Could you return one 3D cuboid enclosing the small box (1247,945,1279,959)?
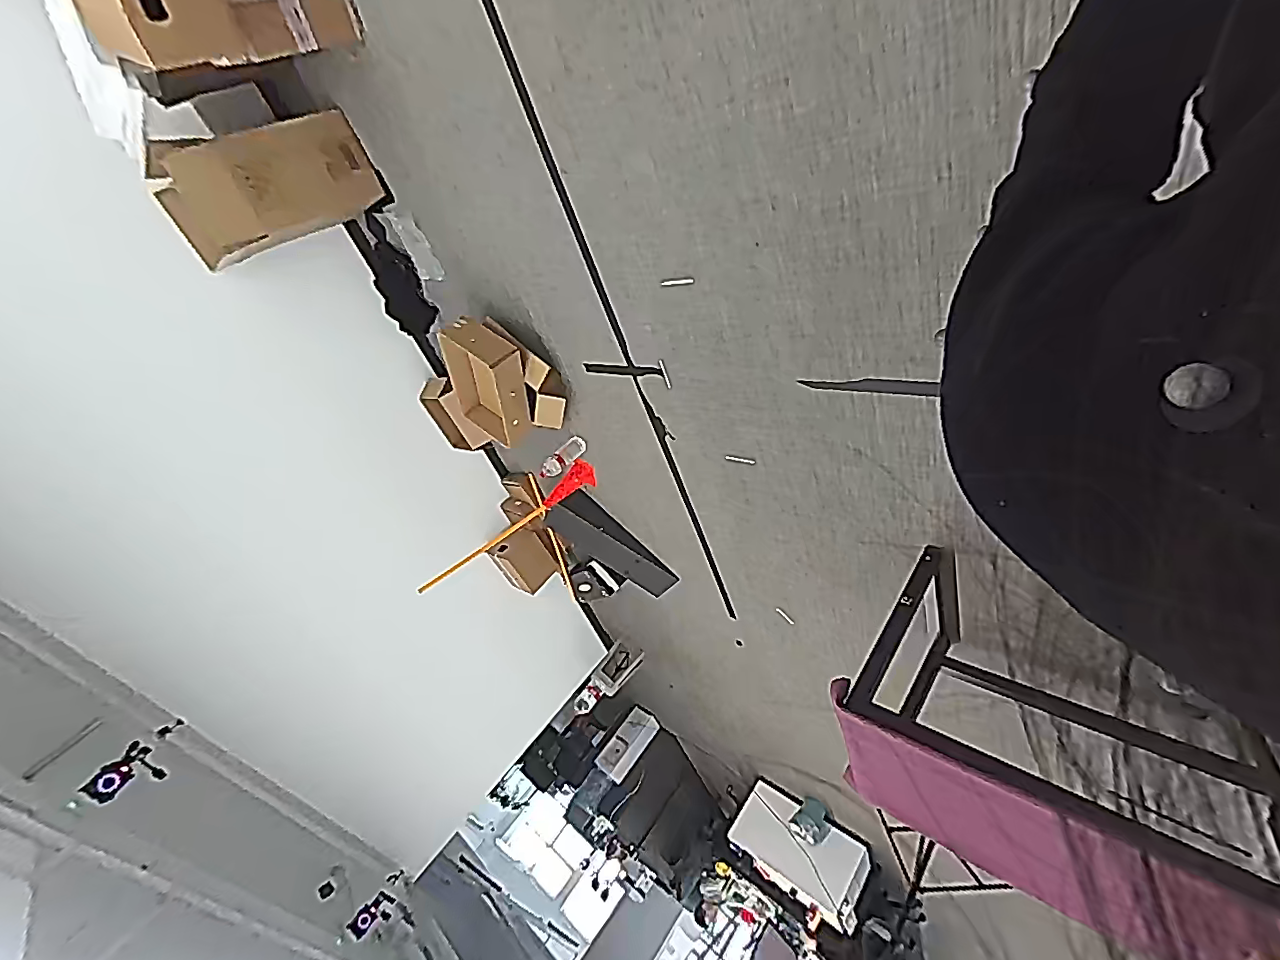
[{"bbox_3d":[1.278,1.031,1.021,0.179,0.176,0.168,11,138,46],"label":"small box"}]
